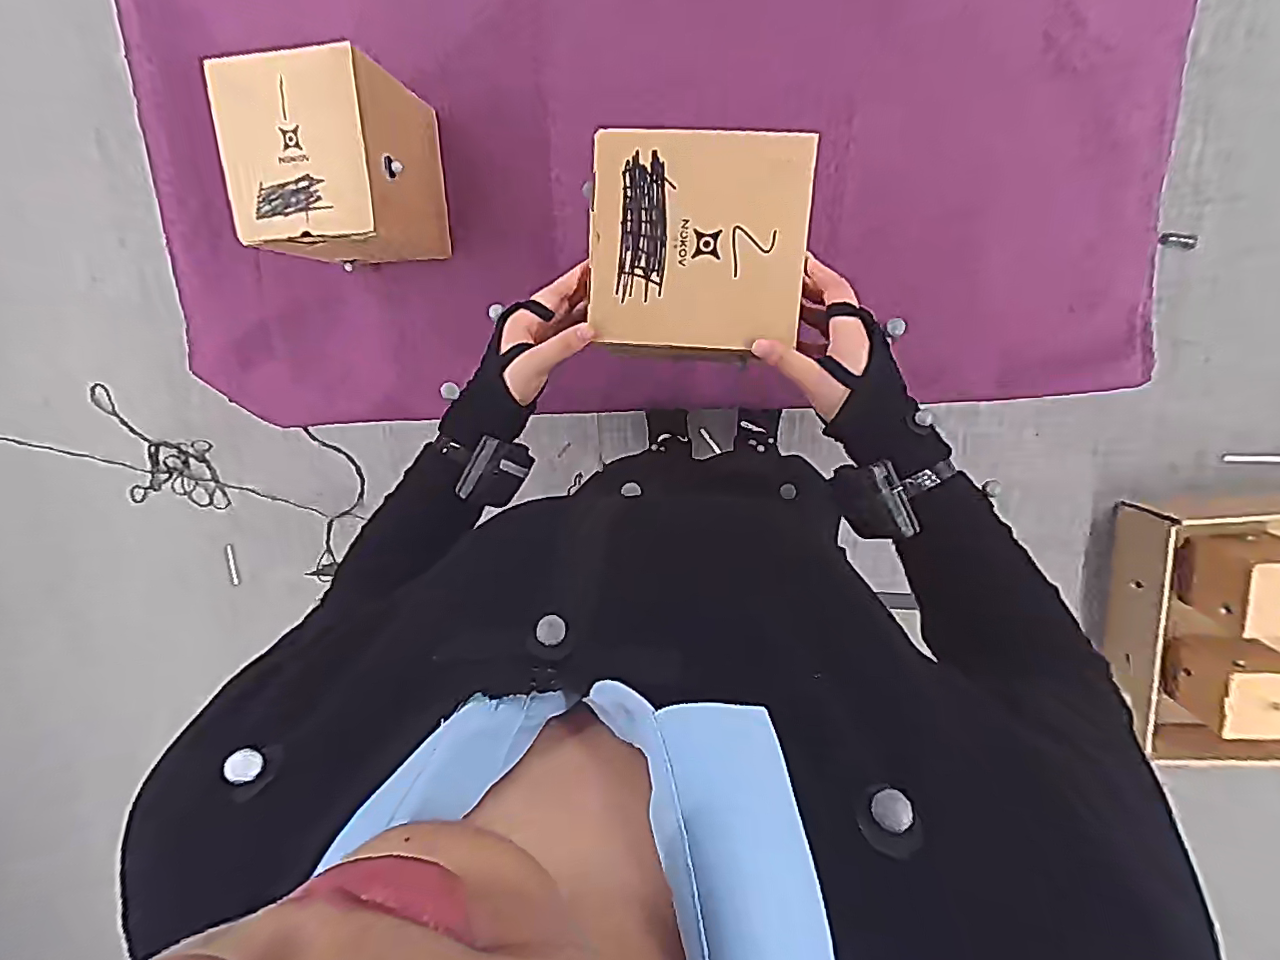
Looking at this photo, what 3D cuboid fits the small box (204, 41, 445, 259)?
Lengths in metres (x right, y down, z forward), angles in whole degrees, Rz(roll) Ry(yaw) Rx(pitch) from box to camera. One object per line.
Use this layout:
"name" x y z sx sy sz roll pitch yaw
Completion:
"small box" -0.345 -0.360 0.630 0.168 0.176 0.179 0 104 8

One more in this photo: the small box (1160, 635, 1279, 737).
"small box" 1.404 0.482 1.282 0.179 0.176 0.168 -4 102 10

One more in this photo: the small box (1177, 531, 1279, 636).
"small box" 1.375 0.230 1.222 0.168 0.176 0.179 -6 104 9
